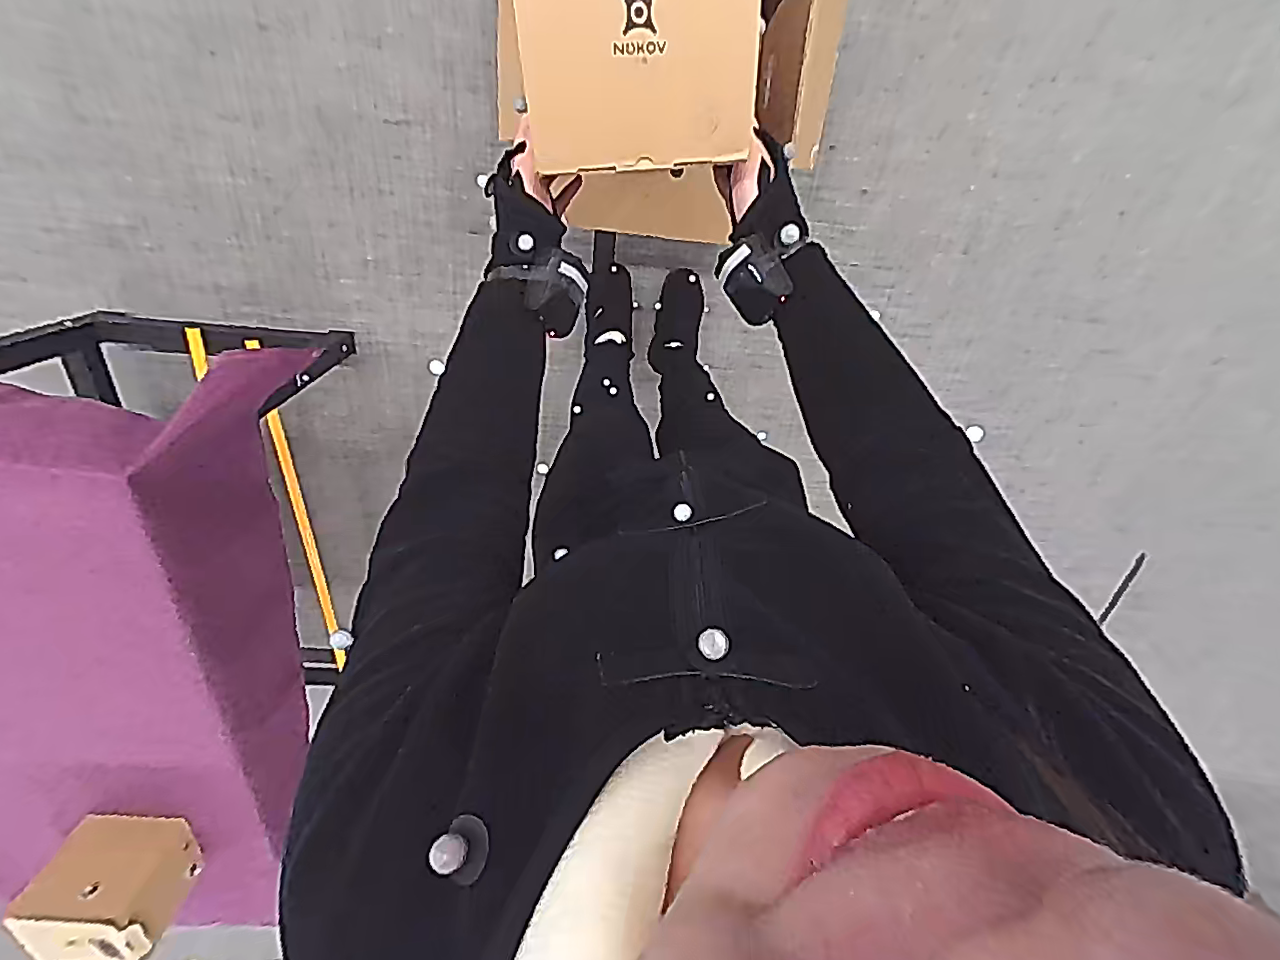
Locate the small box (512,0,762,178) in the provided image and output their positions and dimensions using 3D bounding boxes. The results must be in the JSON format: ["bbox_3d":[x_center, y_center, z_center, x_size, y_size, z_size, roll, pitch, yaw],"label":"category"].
[{"bbox_3d":[-0.007,-0.349,0.422,0.168,0.176,0.179,-5,126,-4],"label":"small box"}]

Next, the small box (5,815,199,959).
[{"bbox_3d":[-0.954,0.742,0.987,0.179,0.176,0.168,7,118,-6],"label":"small box"}]
